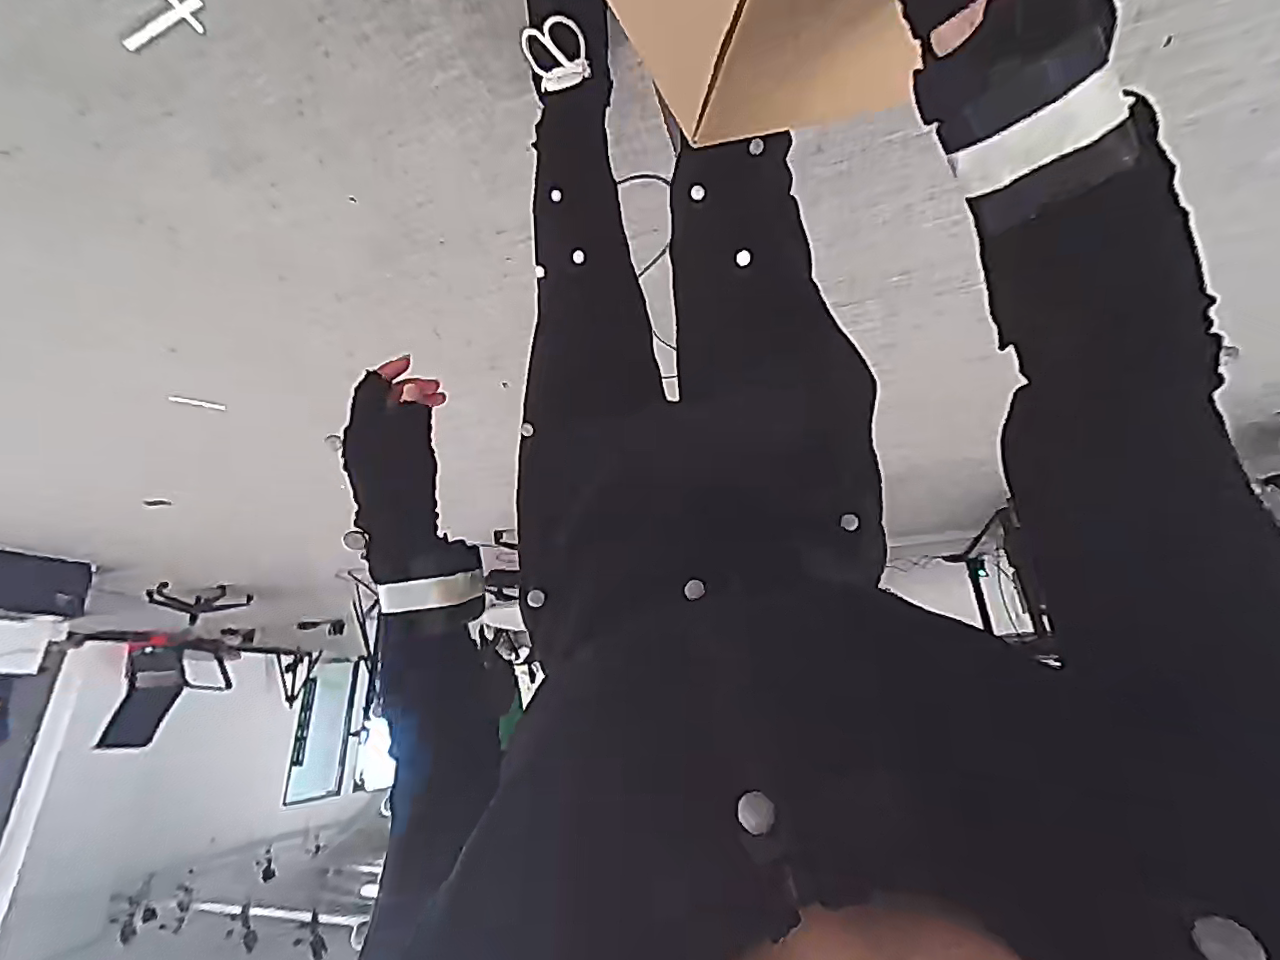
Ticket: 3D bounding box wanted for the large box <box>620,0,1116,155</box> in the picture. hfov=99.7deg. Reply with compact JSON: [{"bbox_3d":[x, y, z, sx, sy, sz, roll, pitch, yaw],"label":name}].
[{"bbox_3d":[0.130,-0.475,0.291,0.320,0.408,0.320,-21,170,-18],"label":"large box"}]
